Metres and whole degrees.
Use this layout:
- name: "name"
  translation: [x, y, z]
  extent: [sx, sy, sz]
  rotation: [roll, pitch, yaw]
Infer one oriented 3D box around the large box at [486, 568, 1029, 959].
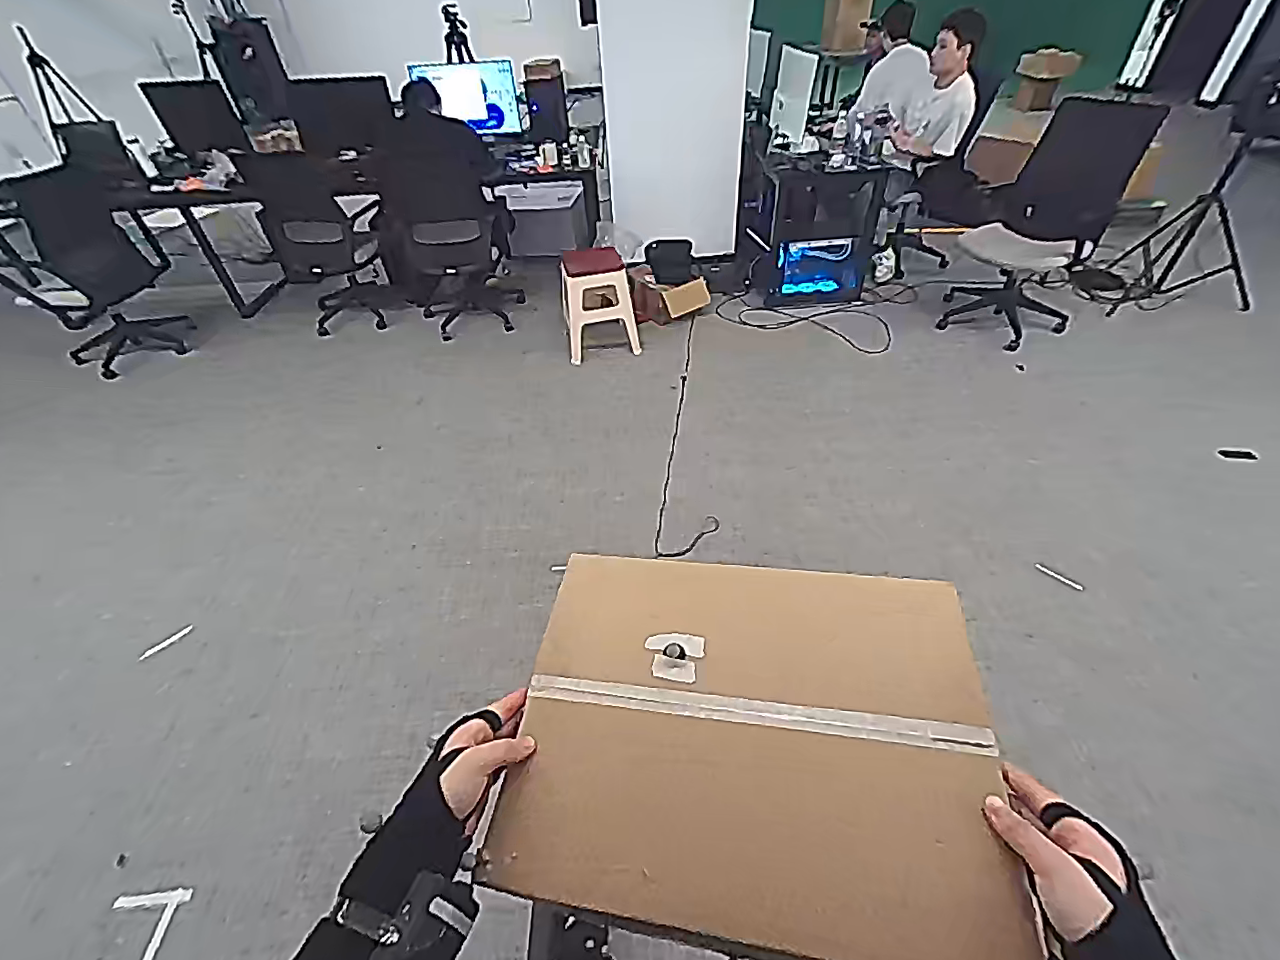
- name: "large box"
  translation: [0.111, 0.318, 0.604]
  extent: [0.408, 0.320, 0.320]
  rotation: [1, 46, 12]
